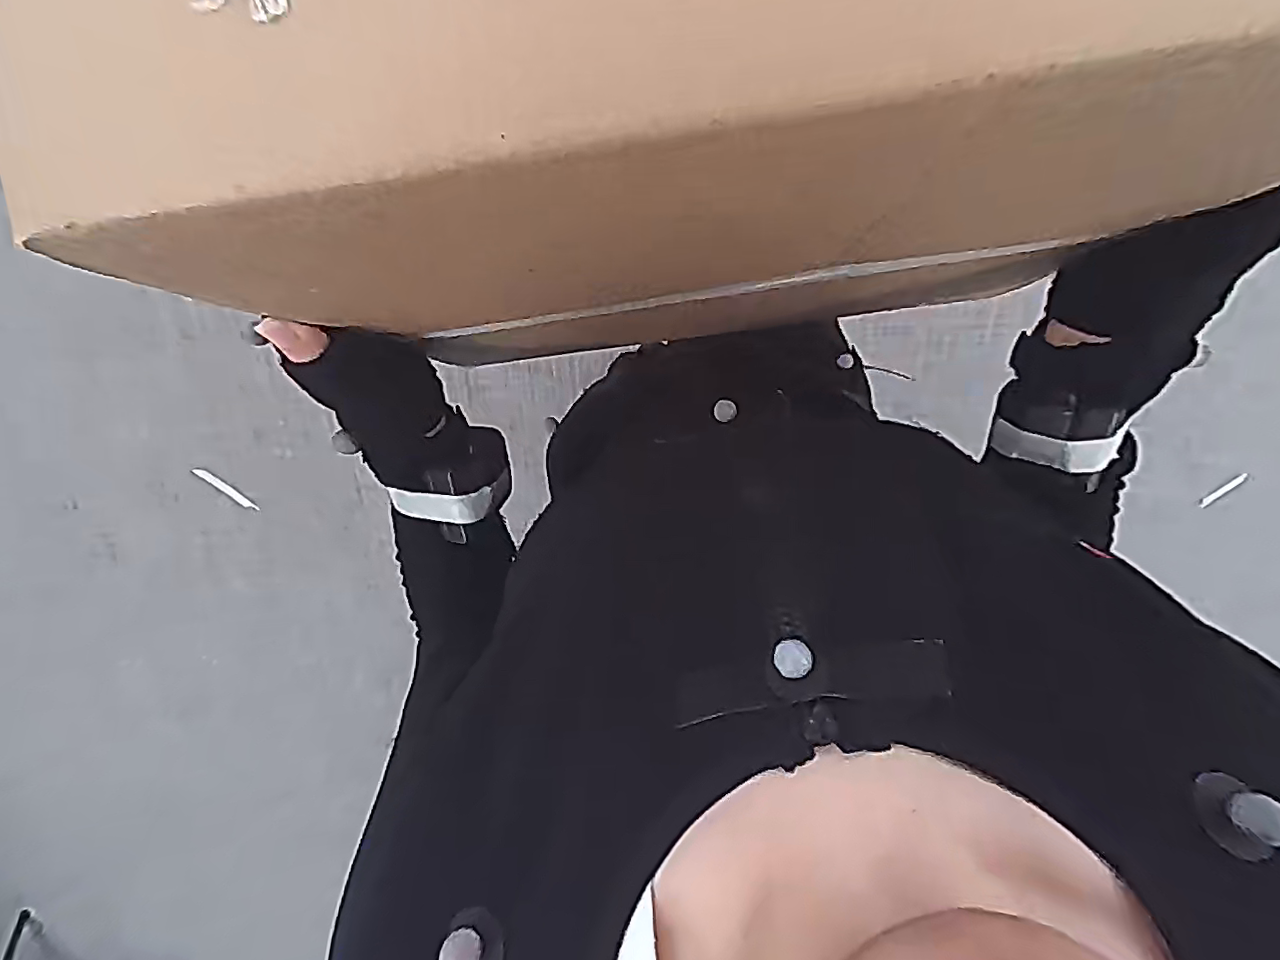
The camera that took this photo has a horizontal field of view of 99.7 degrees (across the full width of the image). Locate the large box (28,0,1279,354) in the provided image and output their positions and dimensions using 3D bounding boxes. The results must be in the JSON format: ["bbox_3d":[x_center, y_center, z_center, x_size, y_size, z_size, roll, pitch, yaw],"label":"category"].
[{"bbox_3d":[0.034,-0.260,0.261,0.408,0.320,0.320,-7,96,3],"label":"large box"}]
